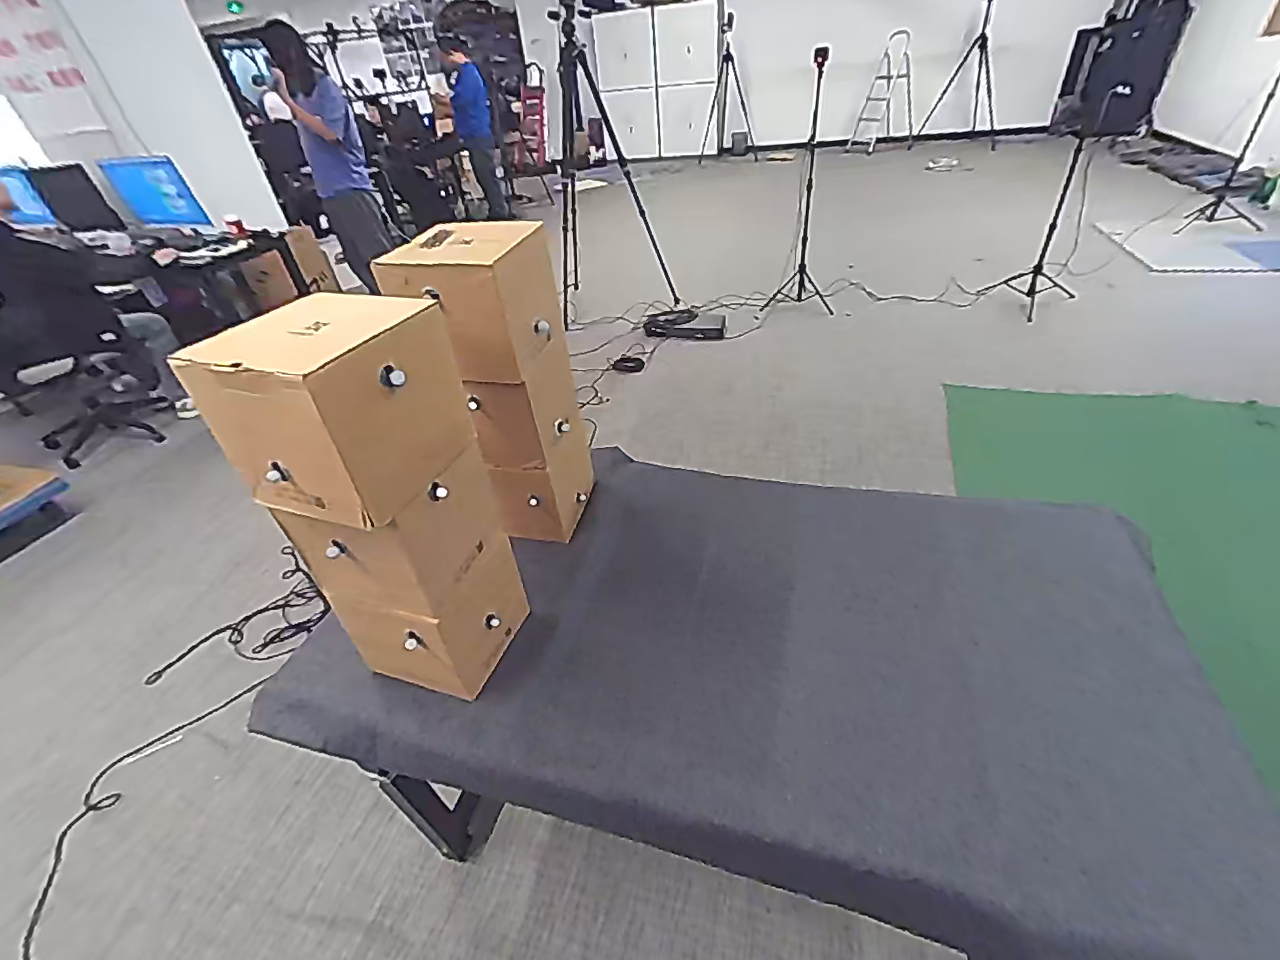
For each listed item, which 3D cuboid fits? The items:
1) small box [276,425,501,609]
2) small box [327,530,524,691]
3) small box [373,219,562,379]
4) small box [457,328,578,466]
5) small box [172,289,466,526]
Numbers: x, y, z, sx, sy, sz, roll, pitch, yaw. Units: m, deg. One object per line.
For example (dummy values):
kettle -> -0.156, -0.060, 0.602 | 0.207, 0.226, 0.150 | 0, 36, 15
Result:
small box -> -0.300, 0.038, 0.671 | 0.179, 0.176, 0.168 | 6, 39, 15
small box -> -0.285, 0.170, 0.766 | 0.179, 0.176, 0.168 | 9, 39, 18
small box -> -0.230, -0.258, 0.770 | 0.179, 0.176, 0.168 | 7, 43, 14
small box -> -0.216, -0.139, 0.883 | 0.179, 0.176, 0.168 | 5, 43, 12
small box -> -0.301, -0.081, 0.557 | 0.168, 0.176, 0.179 | 10, 40, 18
